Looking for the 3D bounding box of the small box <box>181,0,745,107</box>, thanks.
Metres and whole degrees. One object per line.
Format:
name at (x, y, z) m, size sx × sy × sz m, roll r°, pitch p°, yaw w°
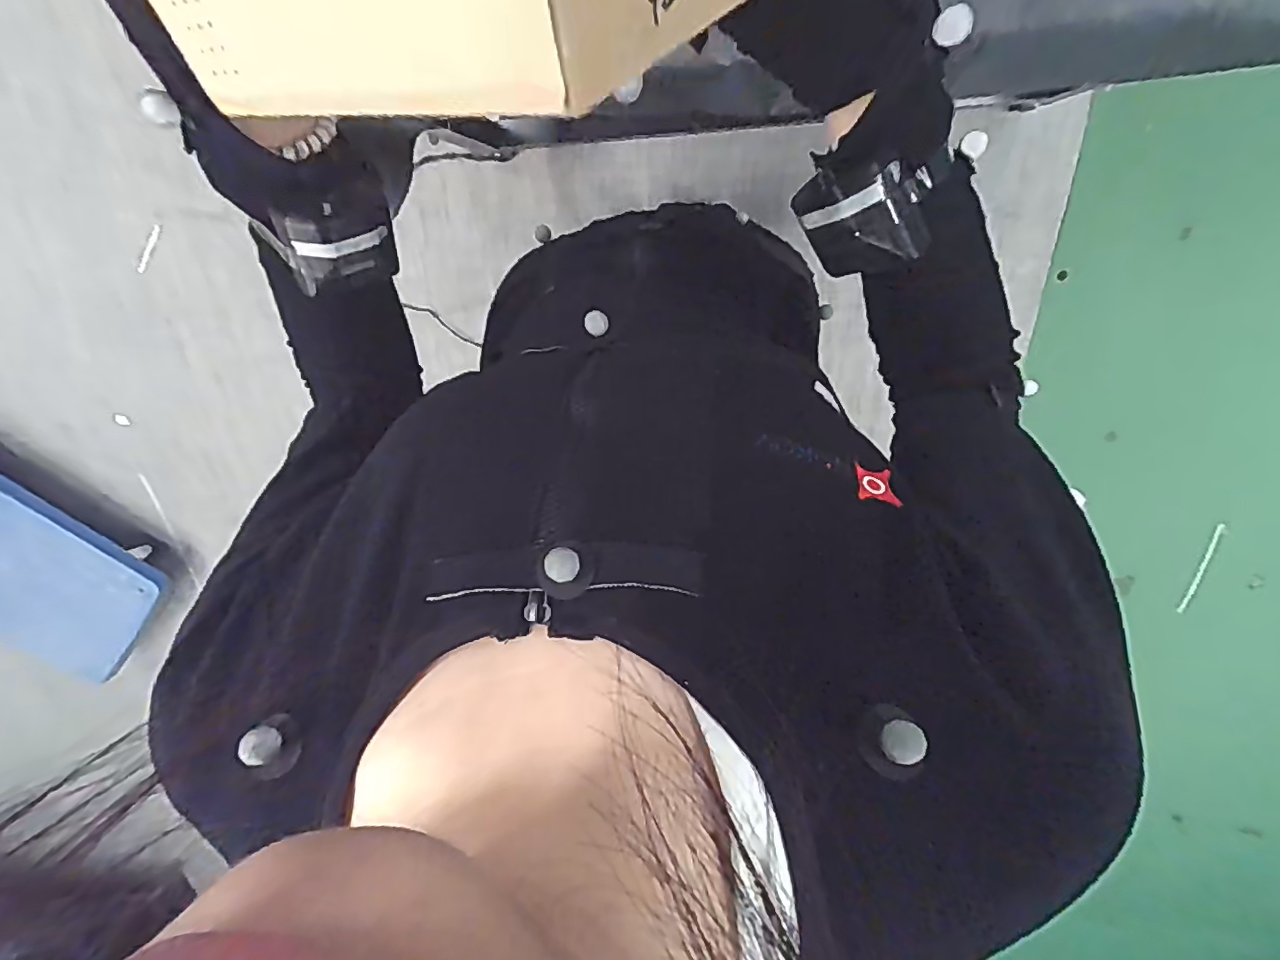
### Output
small box at (-0.059, -0.234, 0.156) m, size 0.176 × 0.168 × 0.179 m, roll 17°, pitch 145°, yaw 24°
